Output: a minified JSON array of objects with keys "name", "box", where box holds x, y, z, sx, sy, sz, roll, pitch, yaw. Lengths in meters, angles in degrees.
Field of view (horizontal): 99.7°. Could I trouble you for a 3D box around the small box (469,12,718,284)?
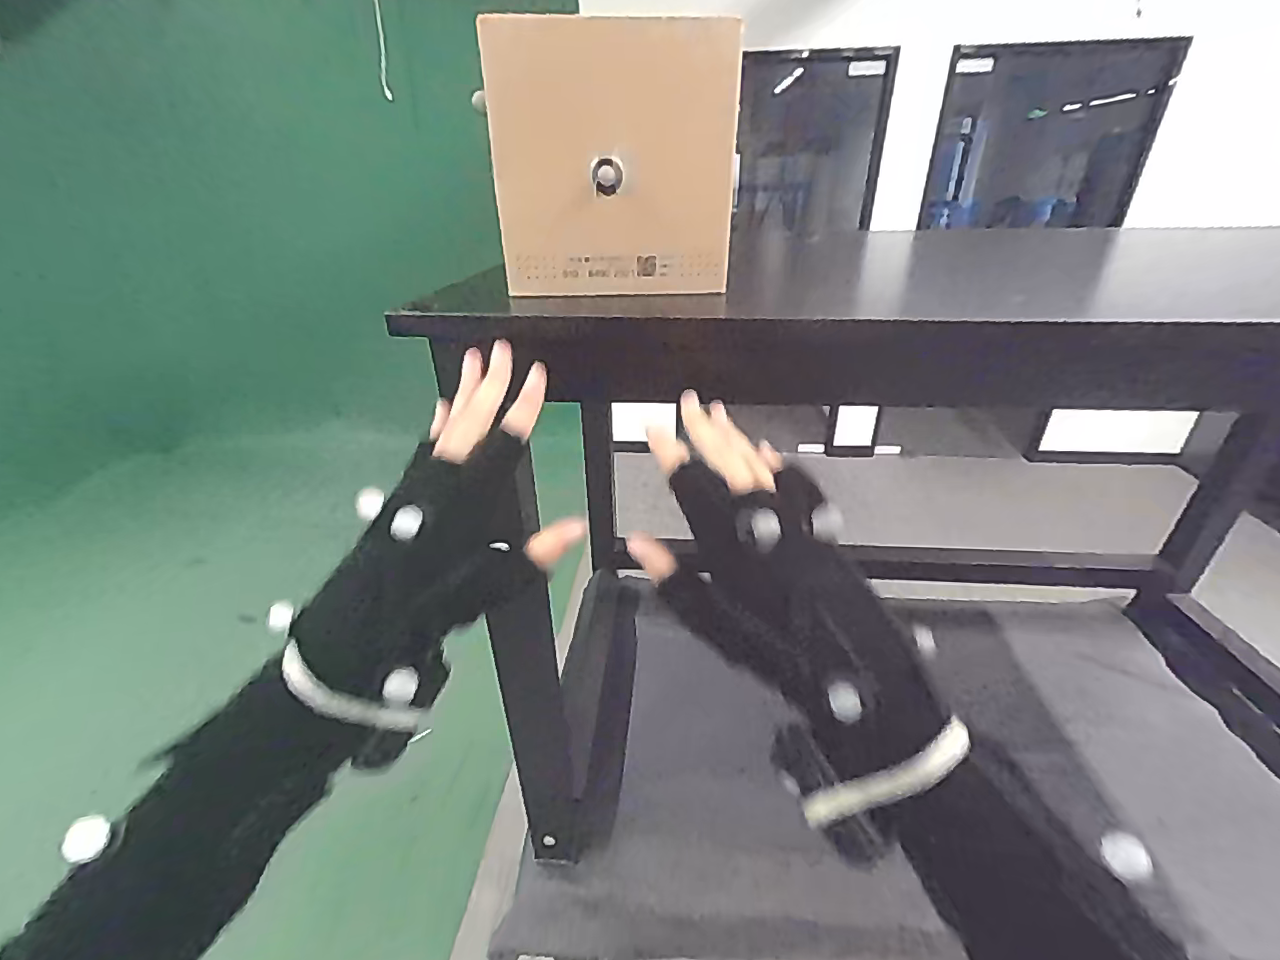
[{"name":"small box","box":[-0.030,-0.264,0.457,0.168,0.176,0.179,-1,28,-2]}]
